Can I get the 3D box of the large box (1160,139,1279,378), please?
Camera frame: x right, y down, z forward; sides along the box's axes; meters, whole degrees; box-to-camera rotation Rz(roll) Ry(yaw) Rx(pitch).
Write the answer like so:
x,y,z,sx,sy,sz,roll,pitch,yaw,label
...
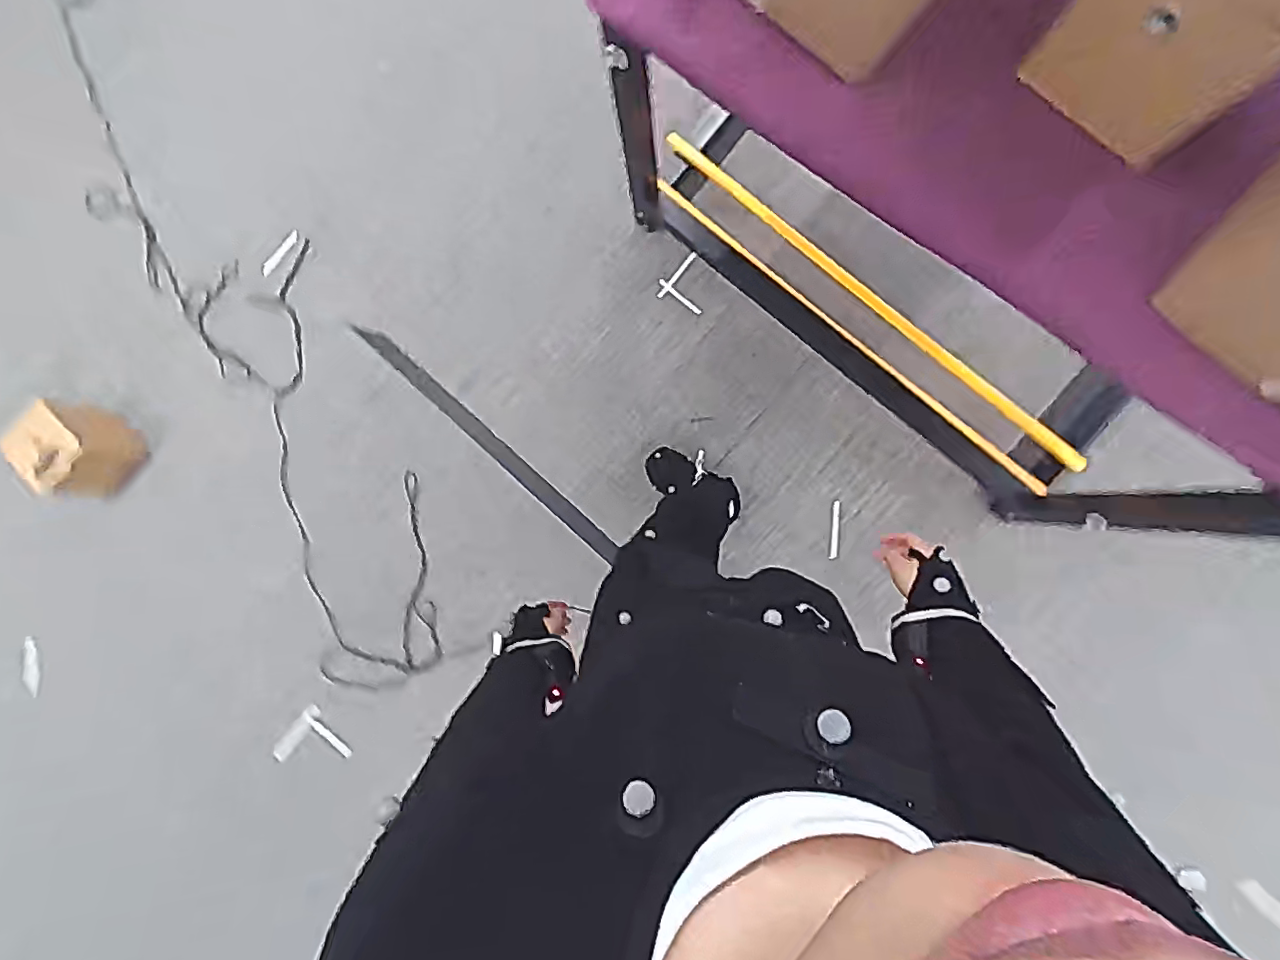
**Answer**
x,y,z,sx,sy,sz,roll,pitch,yaw,label
0.784,-0.264,0.427,0.320,0.320,0.408,39,90,4,large box
